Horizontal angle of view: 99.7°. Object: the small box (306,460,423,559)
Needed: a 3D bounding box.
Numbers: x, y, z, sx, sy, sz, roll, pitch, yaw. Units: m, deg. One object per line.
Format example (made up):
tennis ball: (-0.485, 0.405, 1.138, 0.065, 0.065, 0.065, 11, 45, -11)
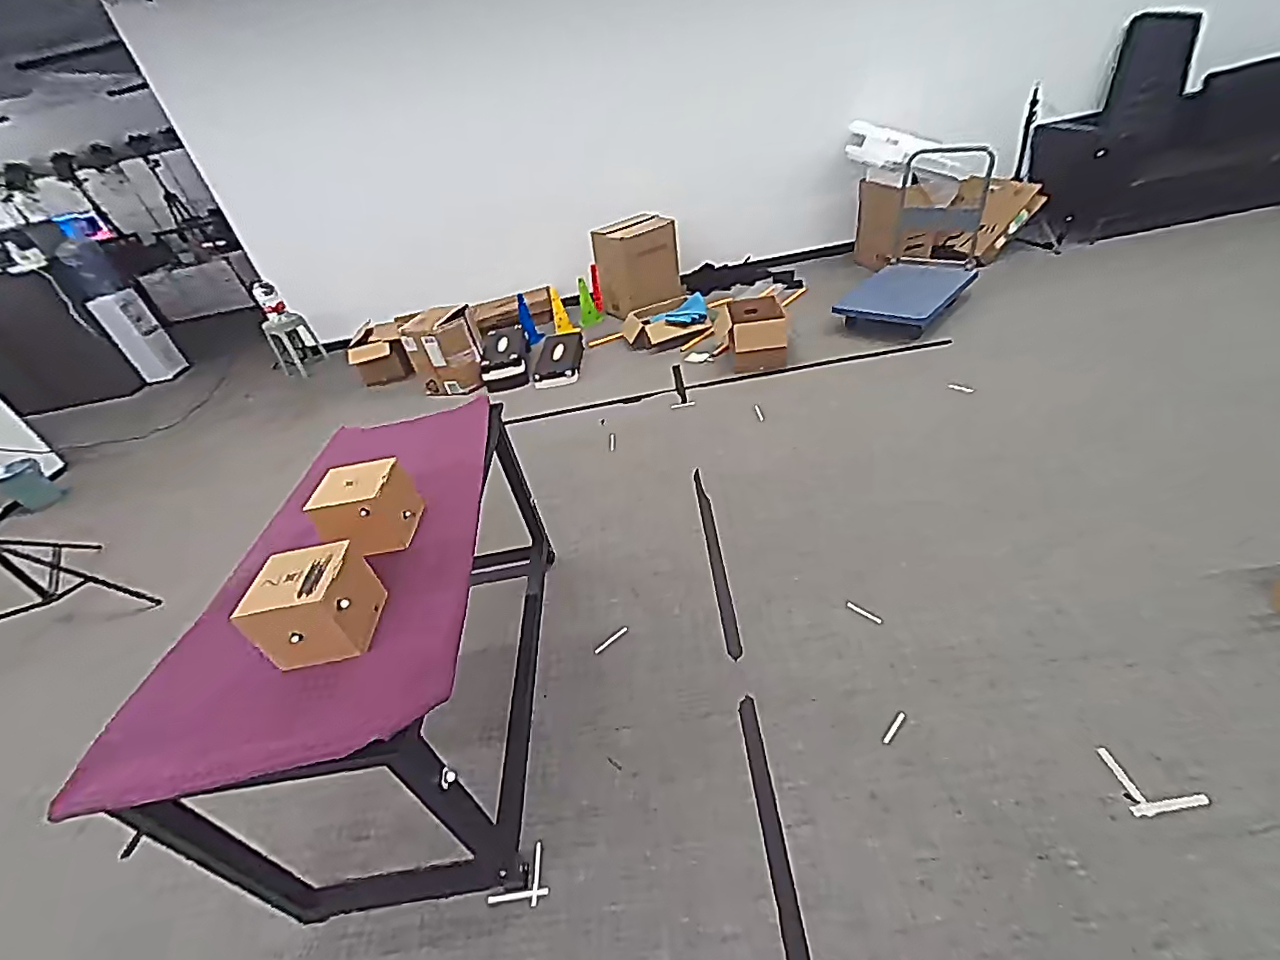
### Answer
small box: (-0.669, 0.076, 1.336, 0.179, 0.176, 0.168, -10, 36, 2)
